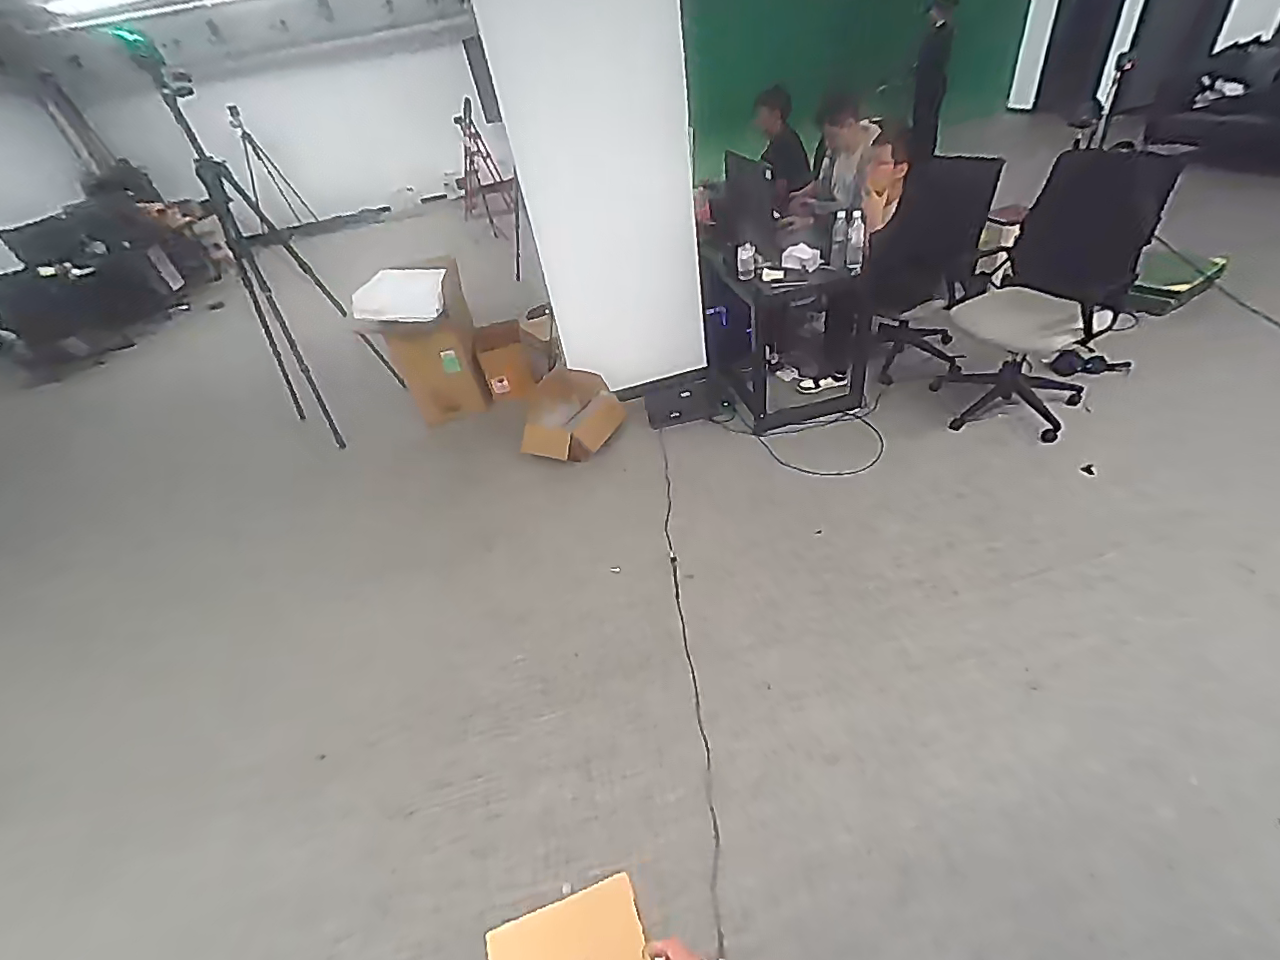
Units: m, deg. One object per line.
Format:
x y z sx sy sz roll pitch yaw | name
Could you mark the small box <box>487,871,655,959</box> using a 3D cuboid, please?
-0.067 0.609 0.647 0.179 0.176 0.168 -15 49 -14 | small box
